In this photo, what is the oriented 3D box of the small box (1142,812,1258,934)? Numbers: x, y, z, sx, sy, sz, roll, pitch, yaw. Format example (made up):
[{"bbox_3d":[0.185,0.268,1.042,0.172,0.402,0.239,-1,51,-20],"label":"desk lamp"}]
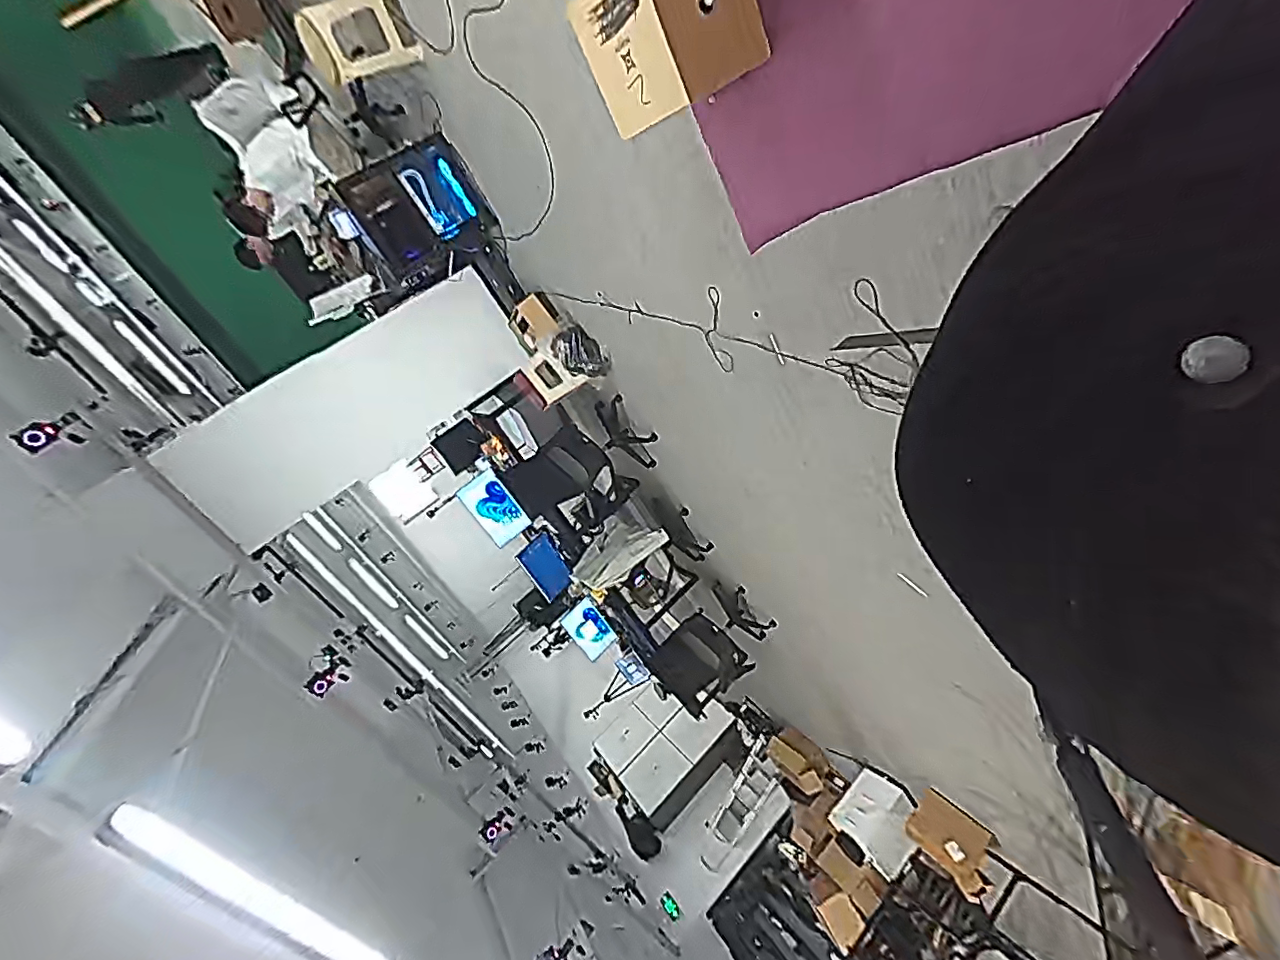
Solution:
[{"bbox_3d":[1.532,1.063,1.479,0.179,0.176,0.168,54,162,-18],"label":"small box"}]

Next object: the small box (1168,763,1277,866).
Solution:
[{"bbox_3d":[1.639,0.950,1.528,0.179,0.176,0.168,25,149,52],"label":"small box"}]
